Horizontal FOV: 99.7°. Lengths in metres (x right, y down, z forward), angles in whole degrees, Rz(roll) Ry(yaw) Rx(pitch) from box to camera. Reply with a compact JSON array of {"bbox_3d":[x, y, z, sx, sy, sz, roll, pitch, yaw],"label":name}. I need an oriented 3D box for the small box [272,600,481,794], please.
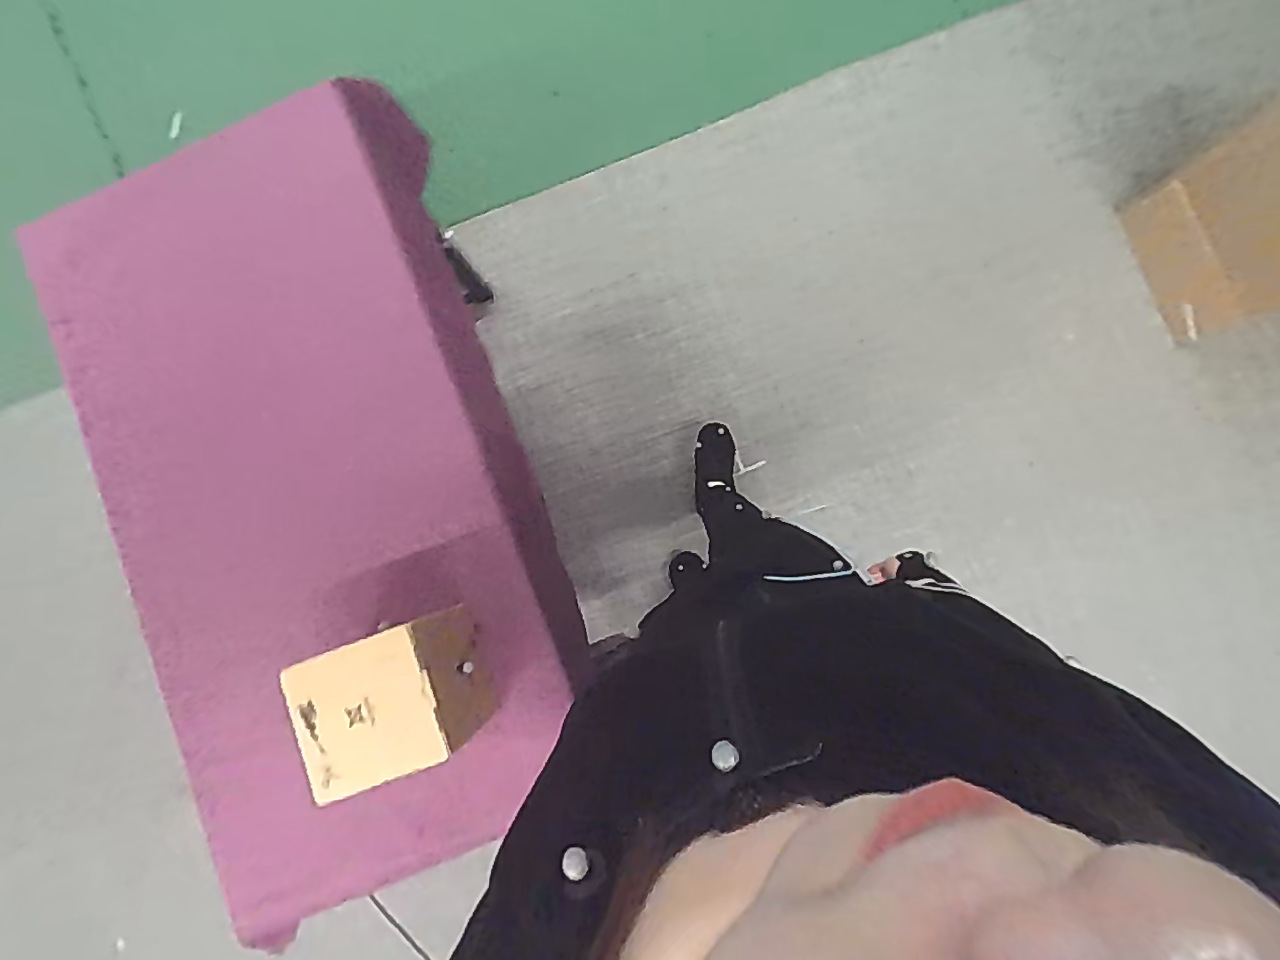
[{"bbox_3d":[-0.329,0.270,0.717,0.179,0.176,0.168,-20,85,3],"label":"small box"}]
